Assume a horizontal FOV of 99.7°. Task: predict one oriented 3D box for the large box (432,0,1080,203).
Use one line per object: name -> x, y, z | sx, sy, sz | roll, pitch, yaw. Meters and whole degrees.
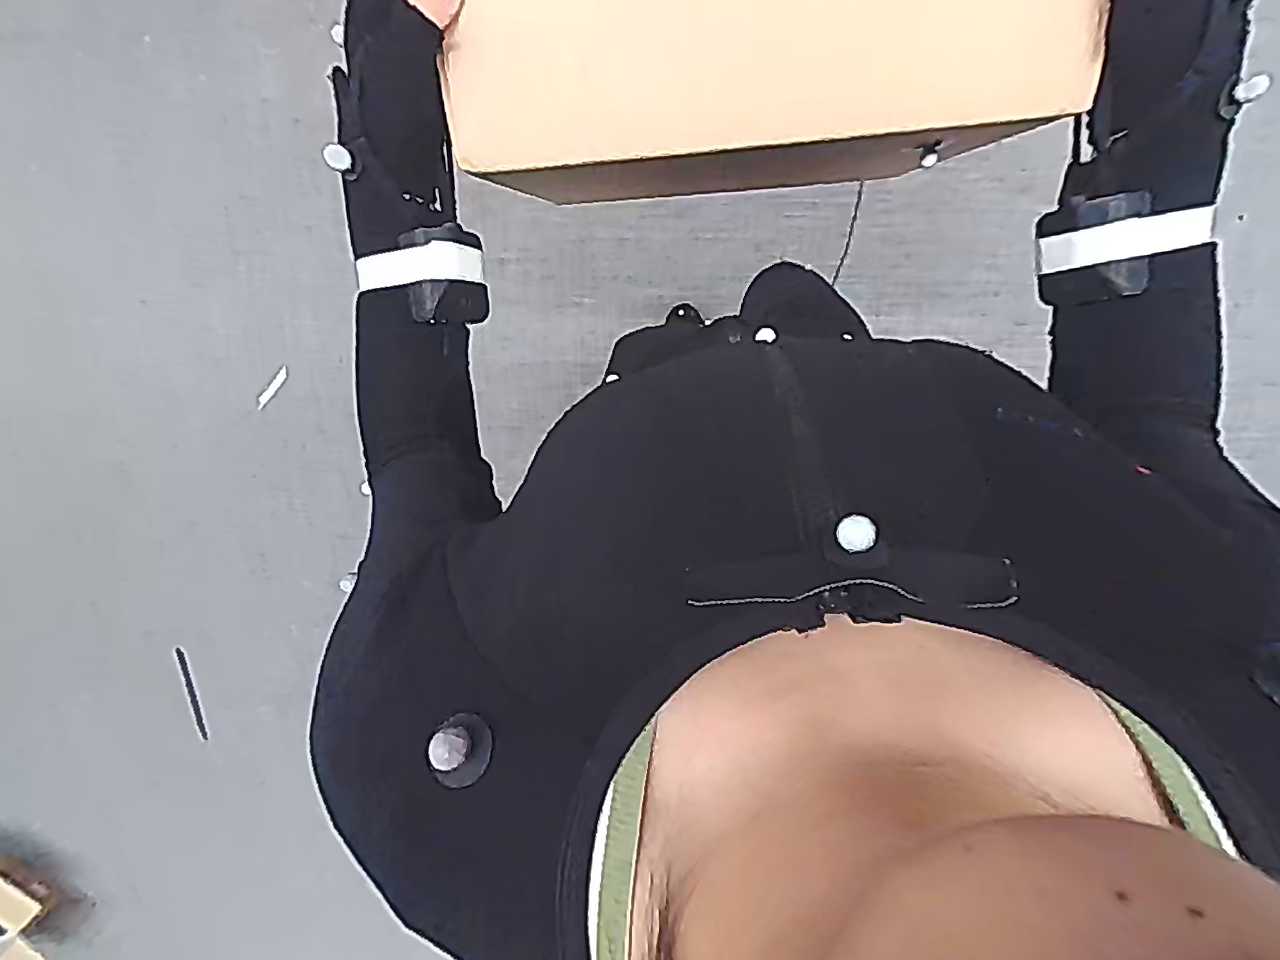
large box -> 0.070, -0.423, 0.440 | 0.408, 0.320, 0.320 | -3, 113, 5
